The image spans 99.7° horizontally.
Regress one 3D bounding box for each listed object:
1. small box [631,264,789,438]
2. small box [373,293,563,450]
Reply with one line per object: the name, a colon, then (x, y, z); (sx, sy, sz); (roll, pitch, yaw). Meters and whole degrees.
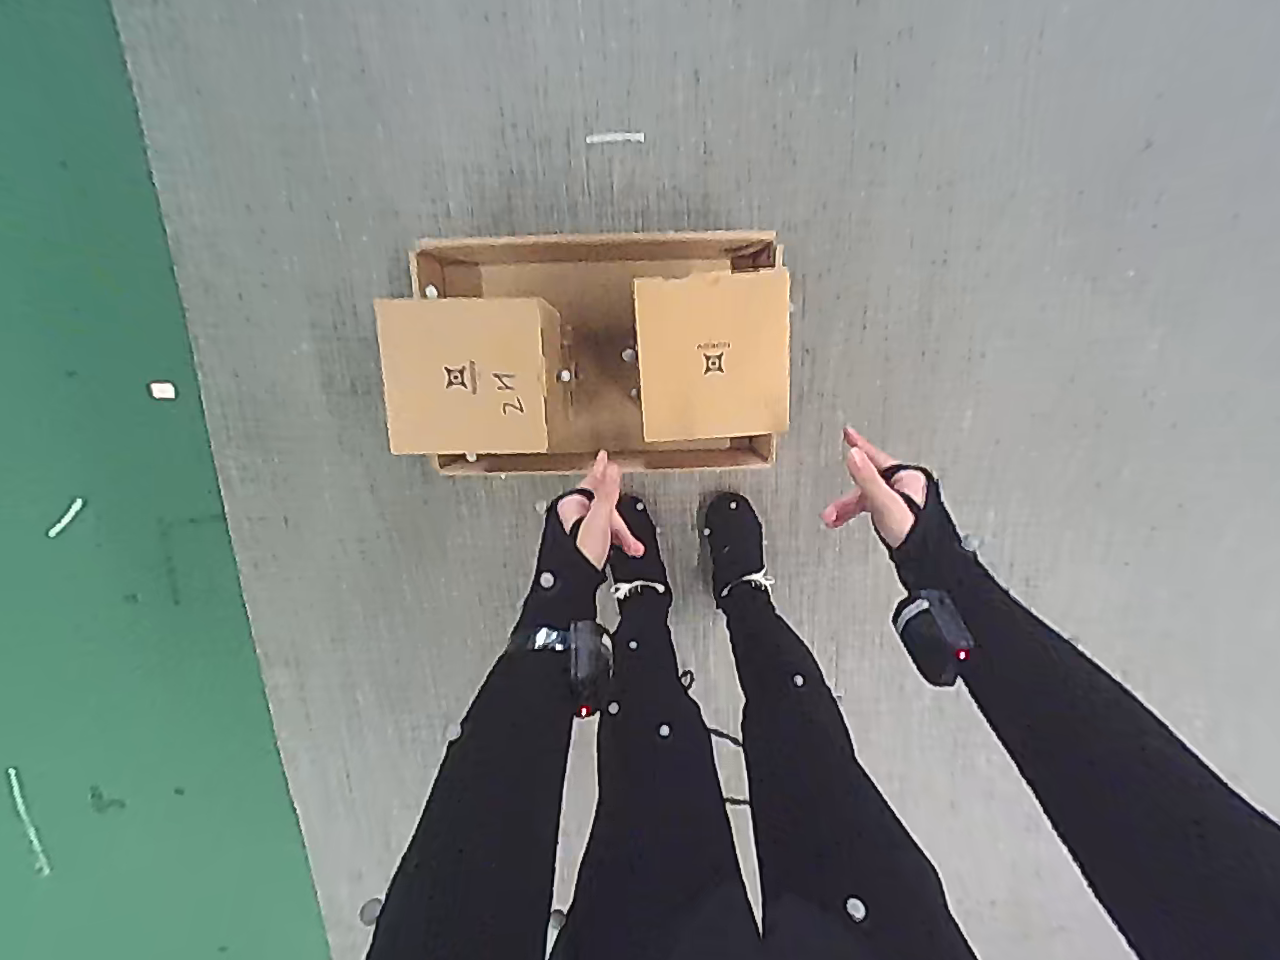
small box: (0.079, -0.155, 0.657); (0.168, 0.176, 0.179); (-4, 104, 1)
small box: (-0.192, -0.129, 0.653); (0.179, 0.176, 0.168); (-1, 102, -2)
